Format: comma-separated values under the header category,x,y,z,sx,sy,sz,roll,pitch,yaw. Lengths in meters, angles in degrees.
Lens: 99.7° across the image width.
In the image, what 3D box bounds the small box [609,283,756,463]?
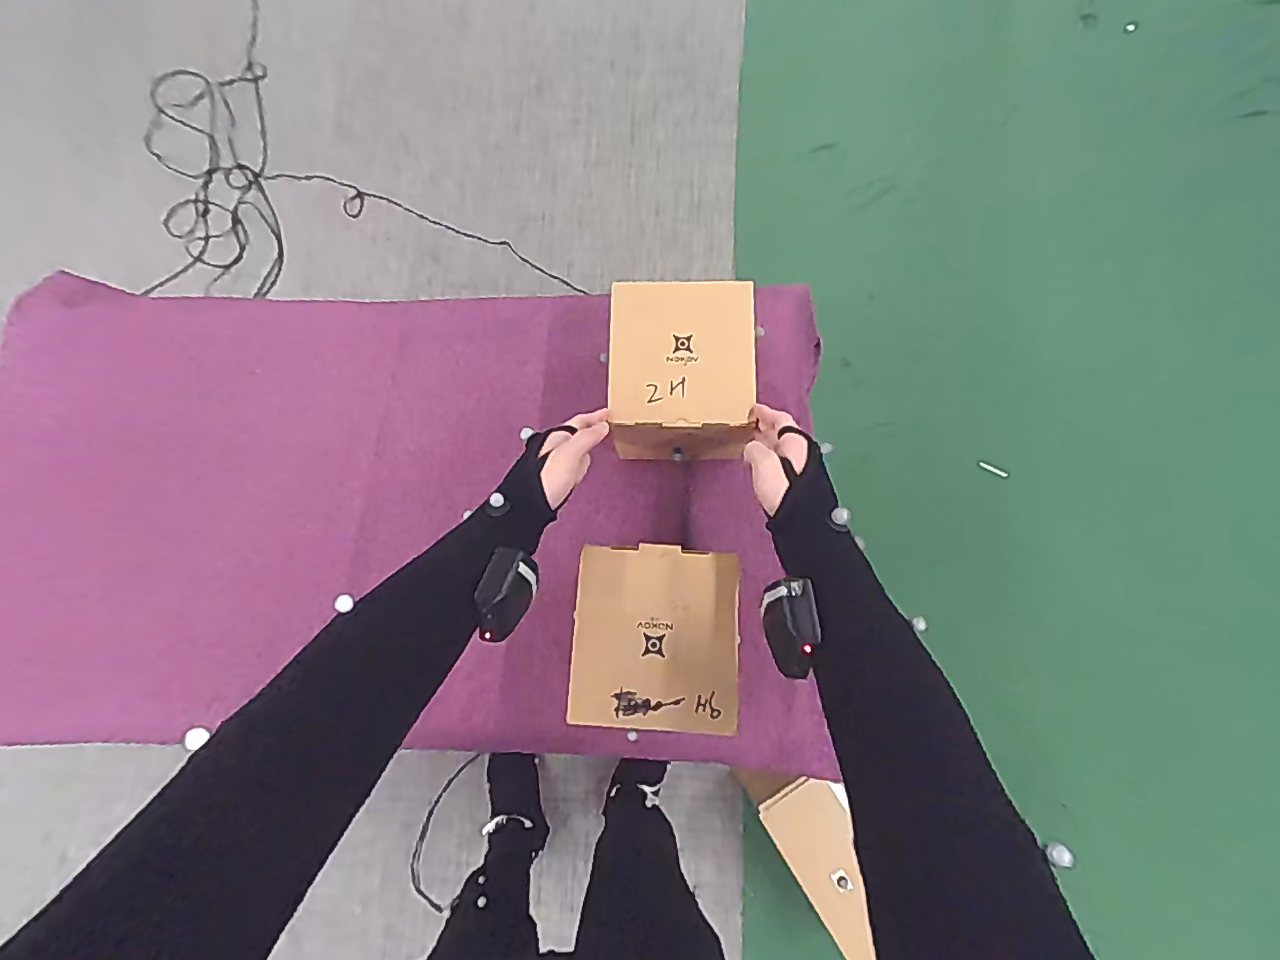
category,x,y,z,sx,sy,sz,roll,pitch,yaw
small box,0.053,-0.128,0.690,0.168,0.176,0.179,1,79,3

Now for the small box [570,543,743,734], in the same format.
category,x,y,z,sx,sy,sz,roll,pitch,yaw
small box,0.023,0.177,0.616,0.168,0.176,0.179,3,73,4
